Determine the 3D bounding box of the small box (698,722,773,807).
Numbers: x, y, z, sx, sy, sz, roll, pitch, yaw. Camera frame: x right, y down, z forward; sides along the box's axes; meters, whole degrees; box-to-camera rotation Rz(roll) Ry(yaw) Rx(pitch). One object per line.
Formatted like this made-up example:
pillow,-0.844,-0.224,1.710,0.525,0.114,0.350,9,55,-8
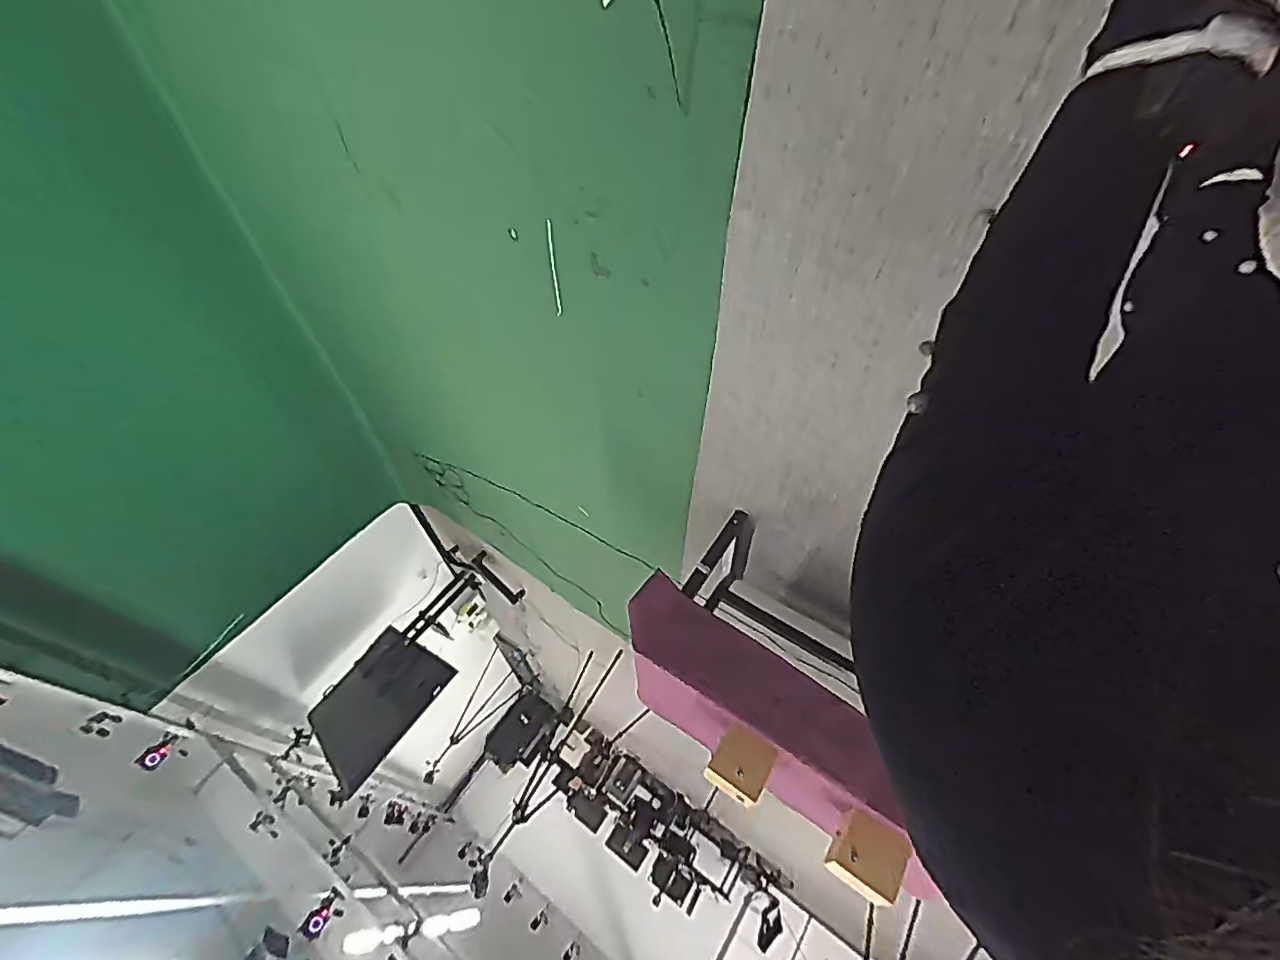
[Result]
small box,0.312,0.927,1.766,0.179,0.176,0.168,30,149,21

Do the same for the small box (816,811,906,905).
small box,0.658,1.121,1.616,0.179,0.176,0.168,28,149,23
